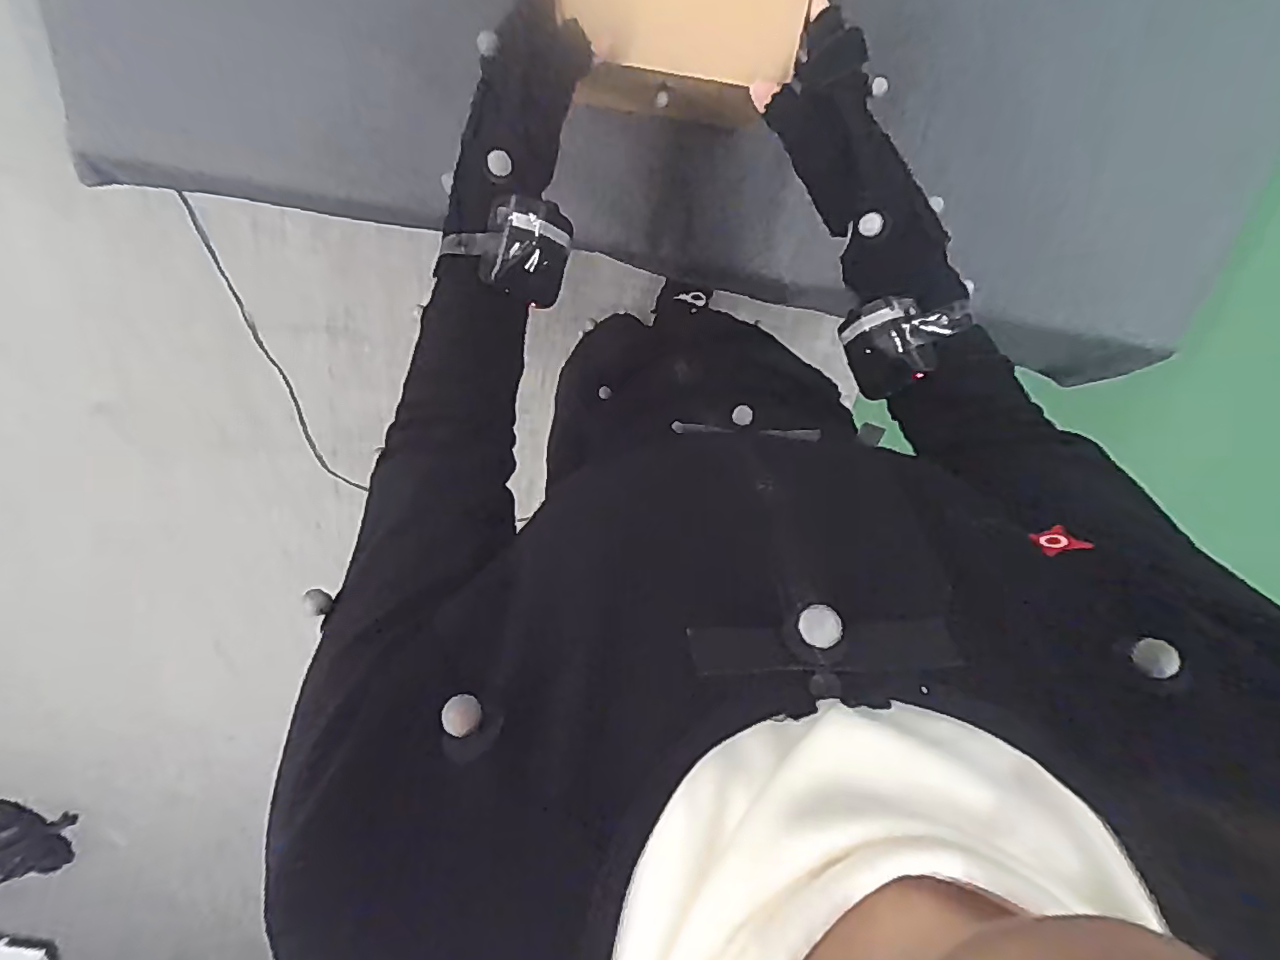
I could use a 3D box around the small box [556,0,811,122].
[{"bbox_3d":[0.037,-0.400,0.427,0.179,0.176,0.168,6,116,-3],"label":"small box"}]
